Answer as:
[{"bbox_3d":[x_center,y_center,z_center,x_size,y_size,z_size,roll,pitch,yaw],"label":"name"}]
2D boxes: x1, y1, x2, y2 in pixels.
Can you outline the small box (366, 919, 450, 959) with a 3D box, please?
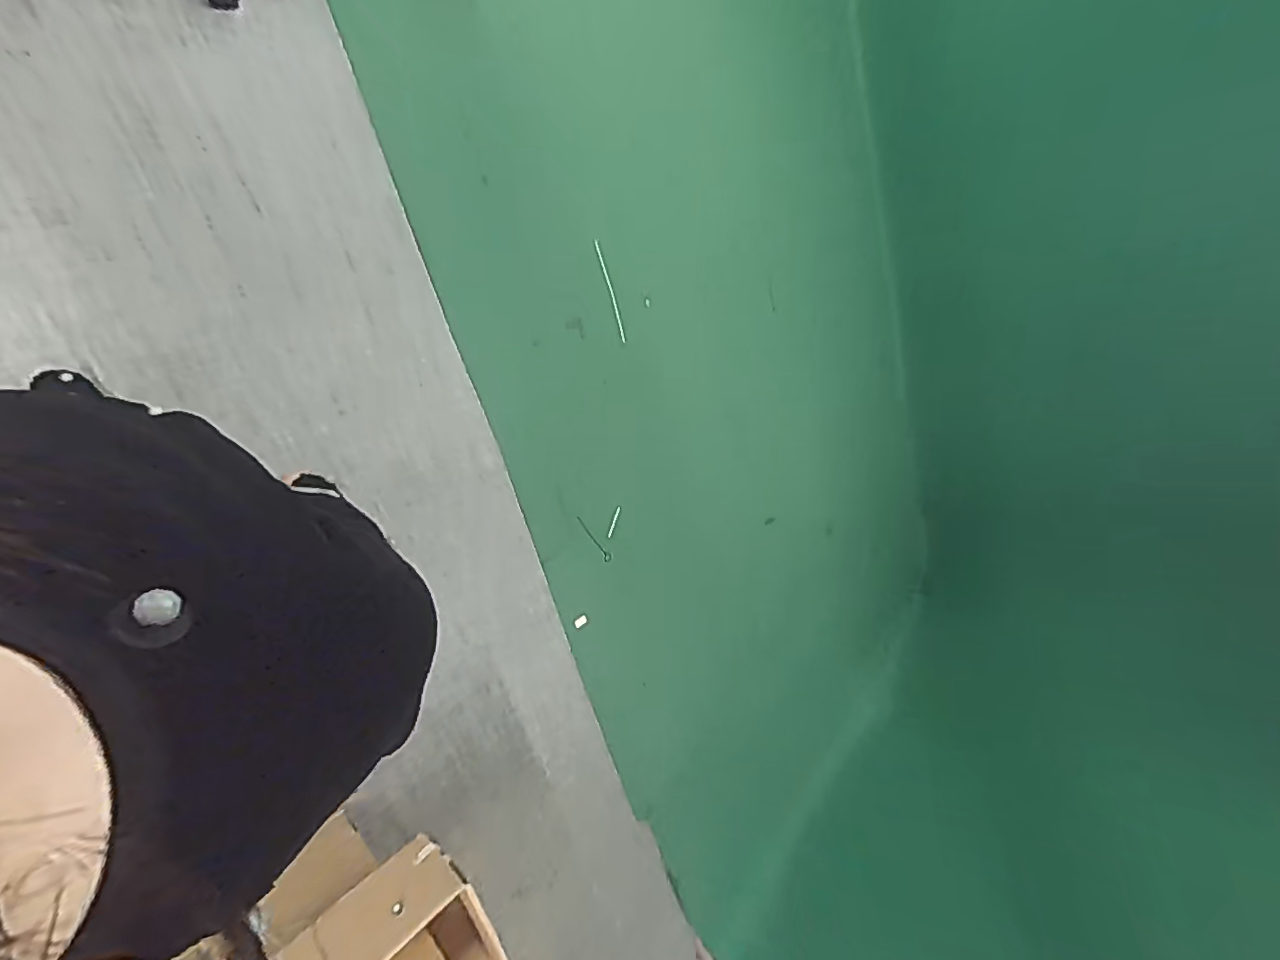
[{"bbox_3d":[-0.417,0.958,0.982,0.168,0.176,0.179,-30,112,-37],"label":"small box"}]
